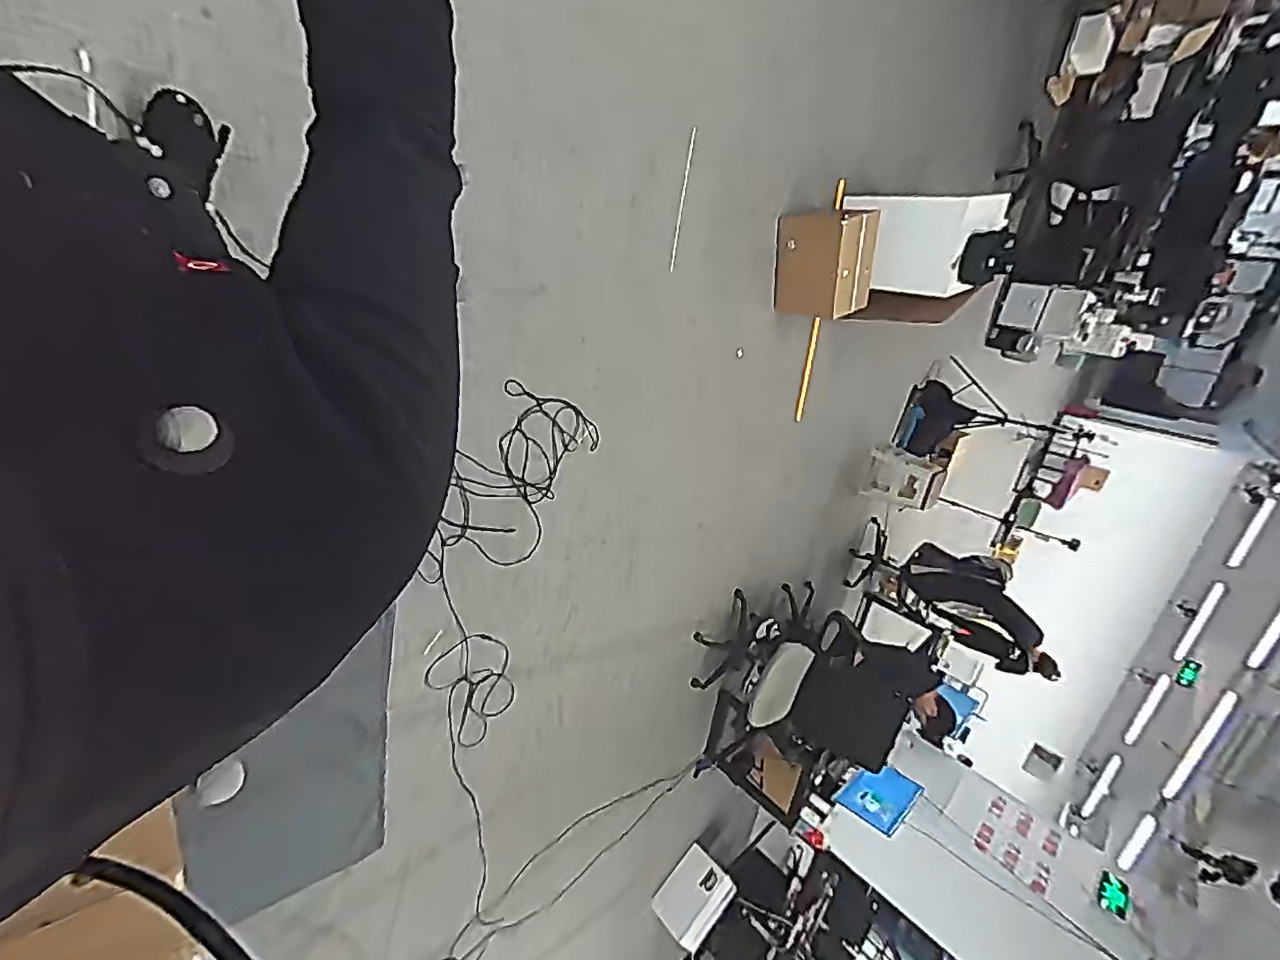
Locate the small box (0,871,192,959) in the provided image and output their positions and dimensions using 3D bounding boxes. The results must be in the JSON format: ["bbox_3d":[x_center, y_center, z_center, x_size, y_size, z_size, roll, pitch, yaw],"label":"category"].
[{"bbox_3d":[-0.535,0.530,0.503,0.179,0.176,0.168,-4,113,-47],"label":"small box"}]
